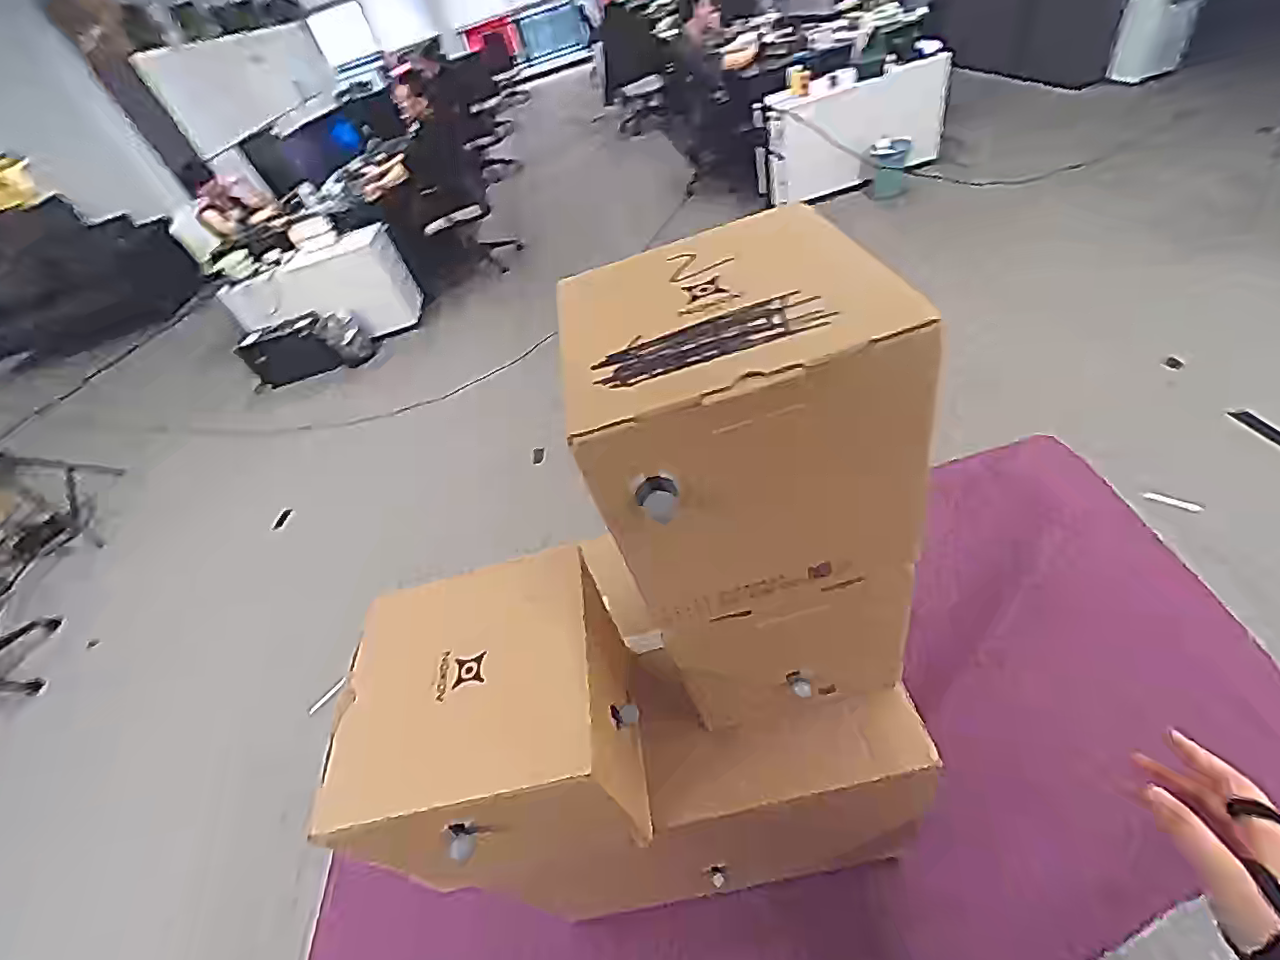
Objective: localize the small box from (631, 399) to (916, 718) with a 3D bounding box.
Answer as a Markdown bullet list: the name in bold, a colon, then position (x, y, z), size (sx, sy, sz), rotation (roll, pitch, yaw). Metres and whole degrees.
- **small box**: position (0.101, 0.066, 0.451), size (0.168, 0.176, 0.179), rotation (-17, 43, 5)

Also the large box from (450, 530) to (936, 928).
- **large box**: position (0.053, 0.266, 0.627), size (0.408, 0.320, 0.320), rotation (-17, 42, 4)
